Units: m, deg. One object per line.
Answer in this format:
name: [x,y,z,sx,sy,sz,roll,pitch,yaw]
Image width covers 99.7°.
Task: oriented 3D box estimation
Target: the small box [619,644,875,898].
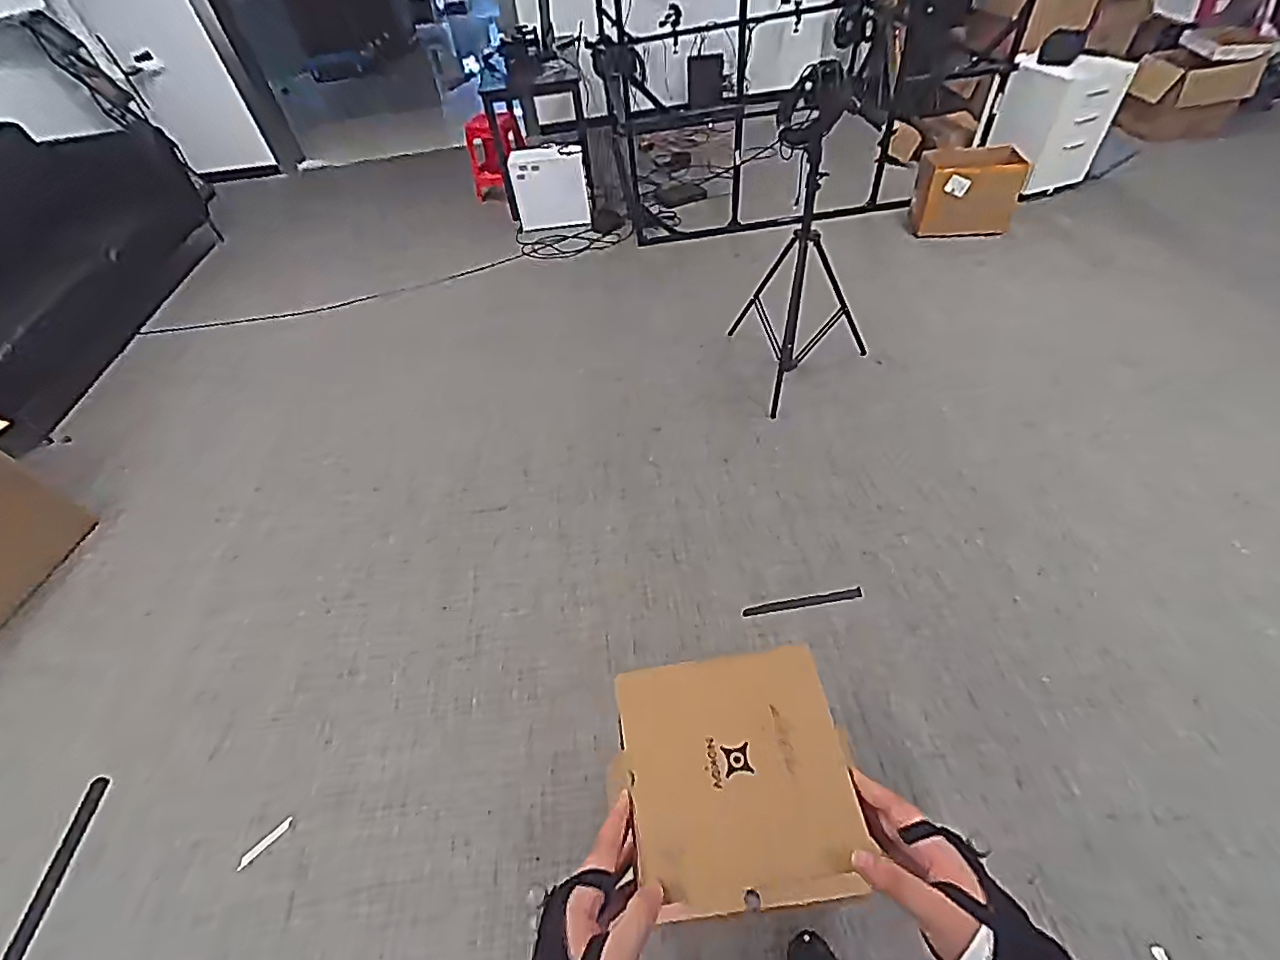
small box: [0.084,0.272,0.507,0.179,0.176,0.168,-10,56,-2]
